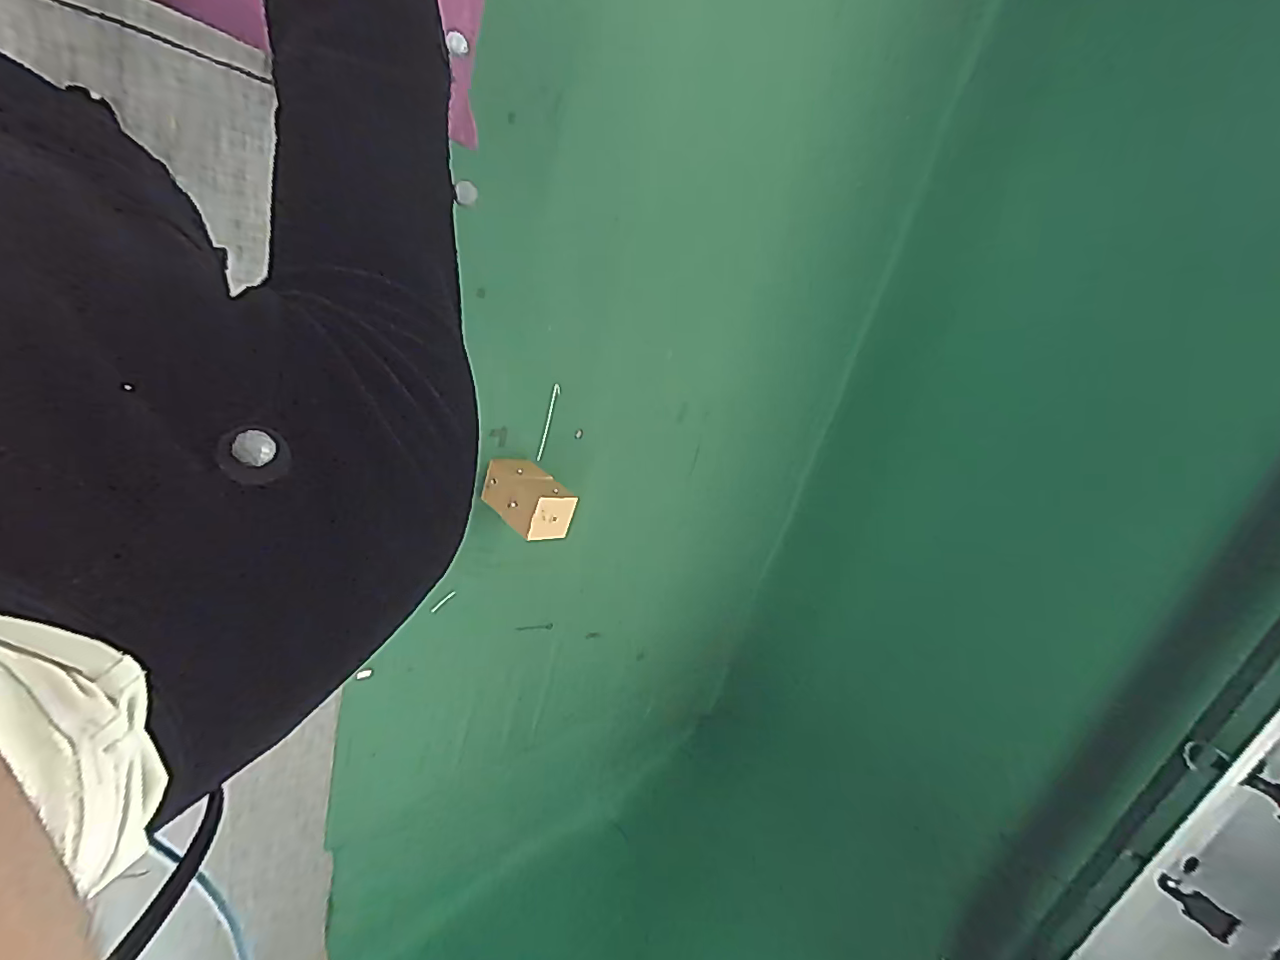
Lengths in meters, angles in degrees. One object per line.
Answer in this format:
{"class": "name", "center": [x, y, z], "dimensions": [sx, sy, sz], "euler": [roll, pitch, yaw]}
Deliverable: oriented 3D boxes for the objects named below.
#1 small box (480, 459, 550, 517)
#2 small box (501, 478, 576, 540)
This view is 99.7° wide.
{"class": "small box", "center": [-0.475, 0.029, 2.048], "dimensions": [0.179, 0.176, 0.168], "euler": [0, 115, -48]}
{"class": "small box", "center": [-0.368, 0.101, 1.946], "dimensions": [0.179, 0.176, 0.168], "euler": [3, 113, -48]}
